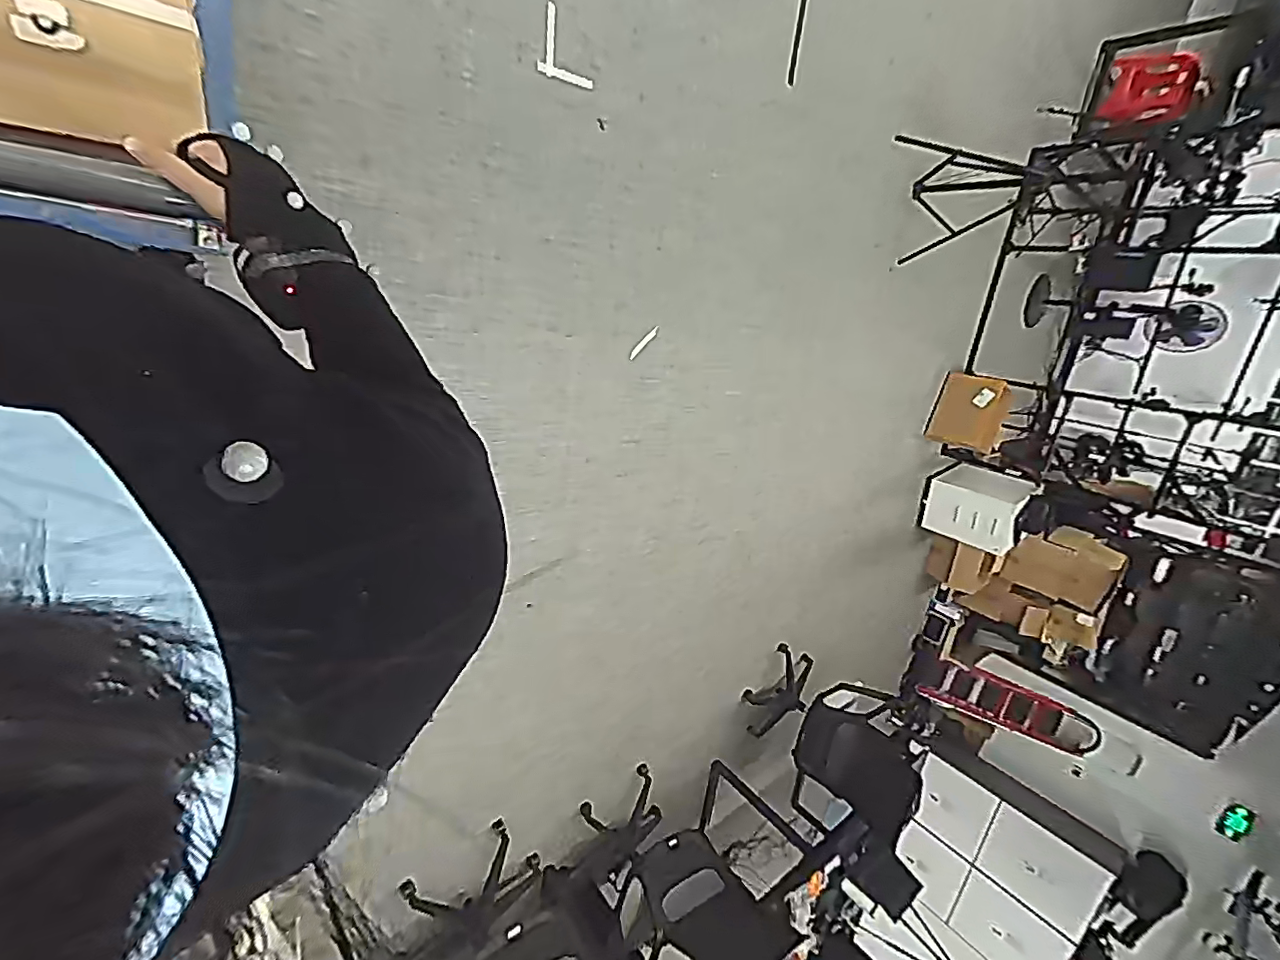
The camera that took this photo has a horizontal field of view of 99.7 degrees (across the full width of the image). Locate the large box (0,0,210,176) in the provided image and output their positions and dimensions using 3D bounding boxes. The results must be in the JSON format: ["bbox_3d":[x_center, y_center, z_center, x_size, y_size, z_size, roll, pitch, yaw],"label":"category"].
[{"bbox_3d":[-0.825,-0.599,0.671,0.408,0.320,0.320,-11,116,-40],"label":"large box"}]
